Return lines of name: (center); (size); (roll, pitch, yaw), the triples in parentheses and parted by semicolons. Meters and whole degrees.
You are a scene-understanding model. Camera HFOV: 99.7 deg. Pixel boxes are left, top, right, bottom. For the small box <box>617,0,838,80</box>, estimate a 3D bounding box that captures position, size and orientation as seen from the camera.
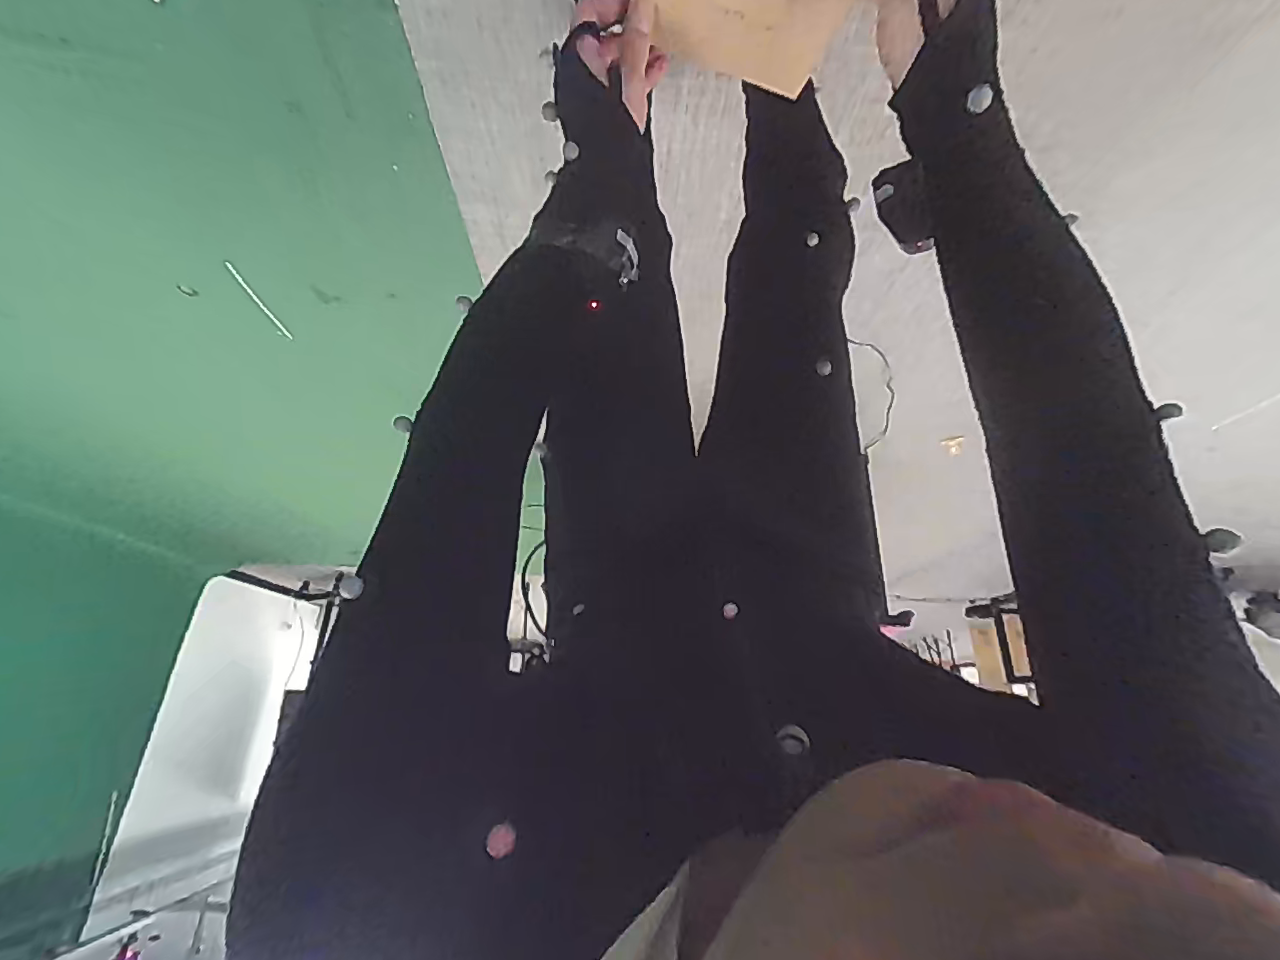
small box: (0.088, -0.467, 0.406); (0.168, 0.176, 0.179); (11, 161, -13)
